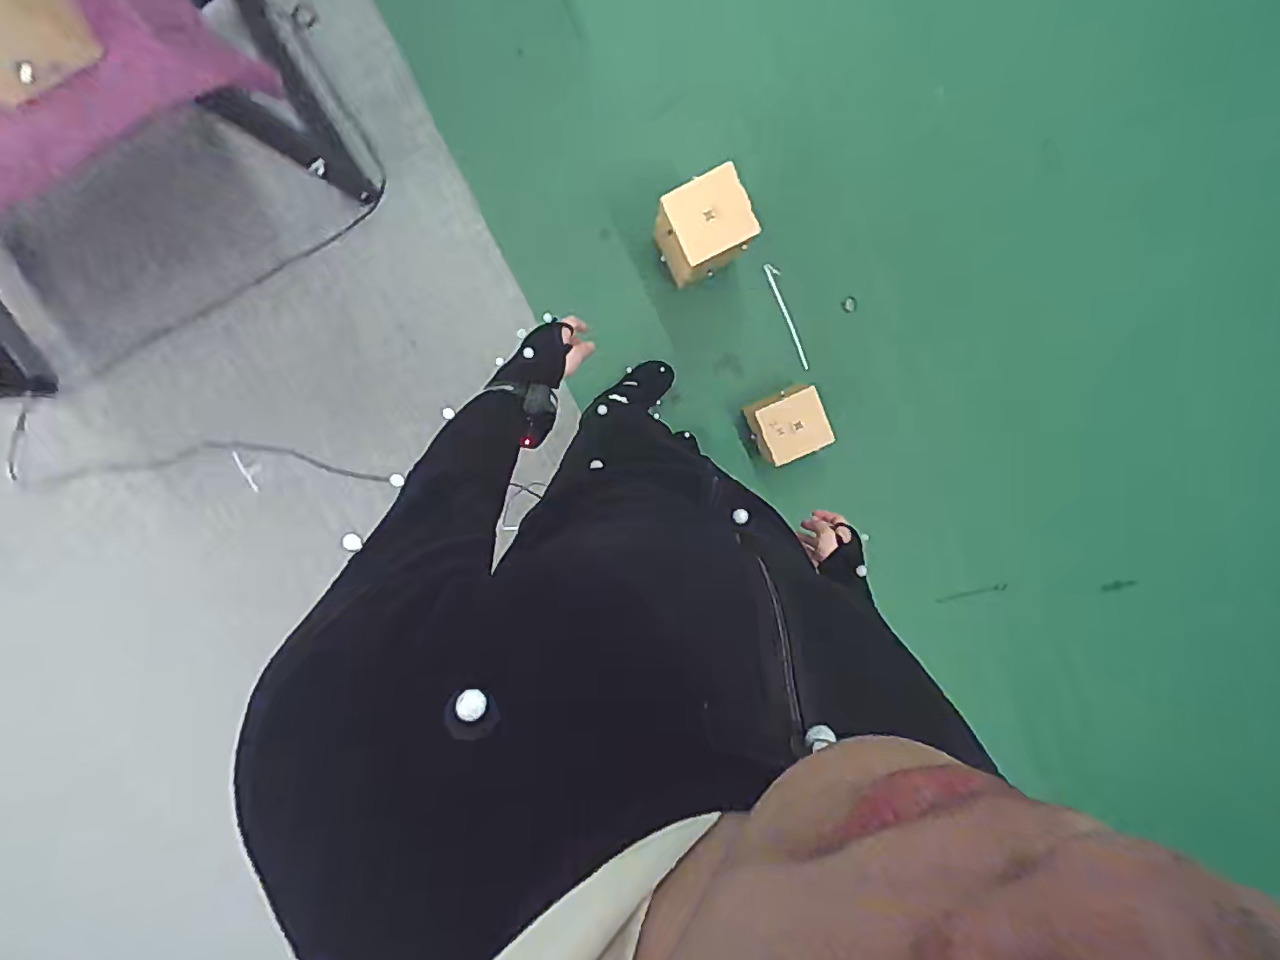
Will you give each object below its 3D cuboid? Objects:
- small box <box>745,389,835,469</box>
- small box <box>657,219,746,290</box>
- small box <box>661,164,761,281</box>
[{"bbox_3d":[0.415,-0.149,1.521,0.179,0.176,0.168,-23,100,4],"label":"small box"},{"bbox_3d":[0.156,-0.624,1.430,0.179,0.176,0.168,-25,99,5],"label":"small box"},{"bbox_3d":[0.159,-0.593,1.272,0.179,0.176,0.168,-26,99,3],"label":"small box"}]
